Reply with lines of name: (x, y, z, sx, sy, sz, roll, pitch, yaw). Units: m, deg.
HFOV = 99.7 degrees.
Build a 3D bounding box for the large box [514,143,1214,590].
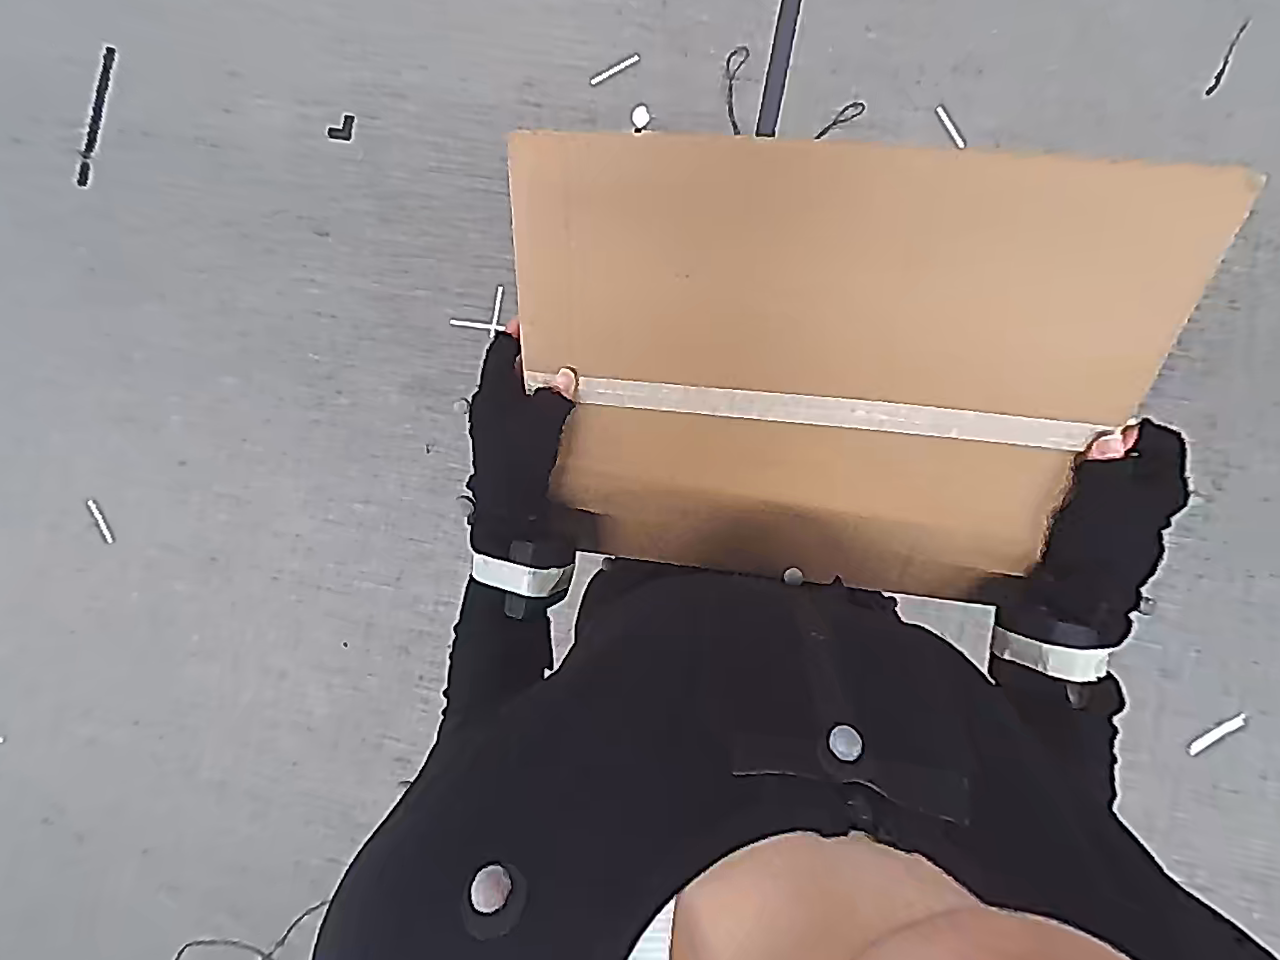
large box: (0.131, -0.133, 0.517, 0.408, 0.320, 0.320, 7, 124, 5)
